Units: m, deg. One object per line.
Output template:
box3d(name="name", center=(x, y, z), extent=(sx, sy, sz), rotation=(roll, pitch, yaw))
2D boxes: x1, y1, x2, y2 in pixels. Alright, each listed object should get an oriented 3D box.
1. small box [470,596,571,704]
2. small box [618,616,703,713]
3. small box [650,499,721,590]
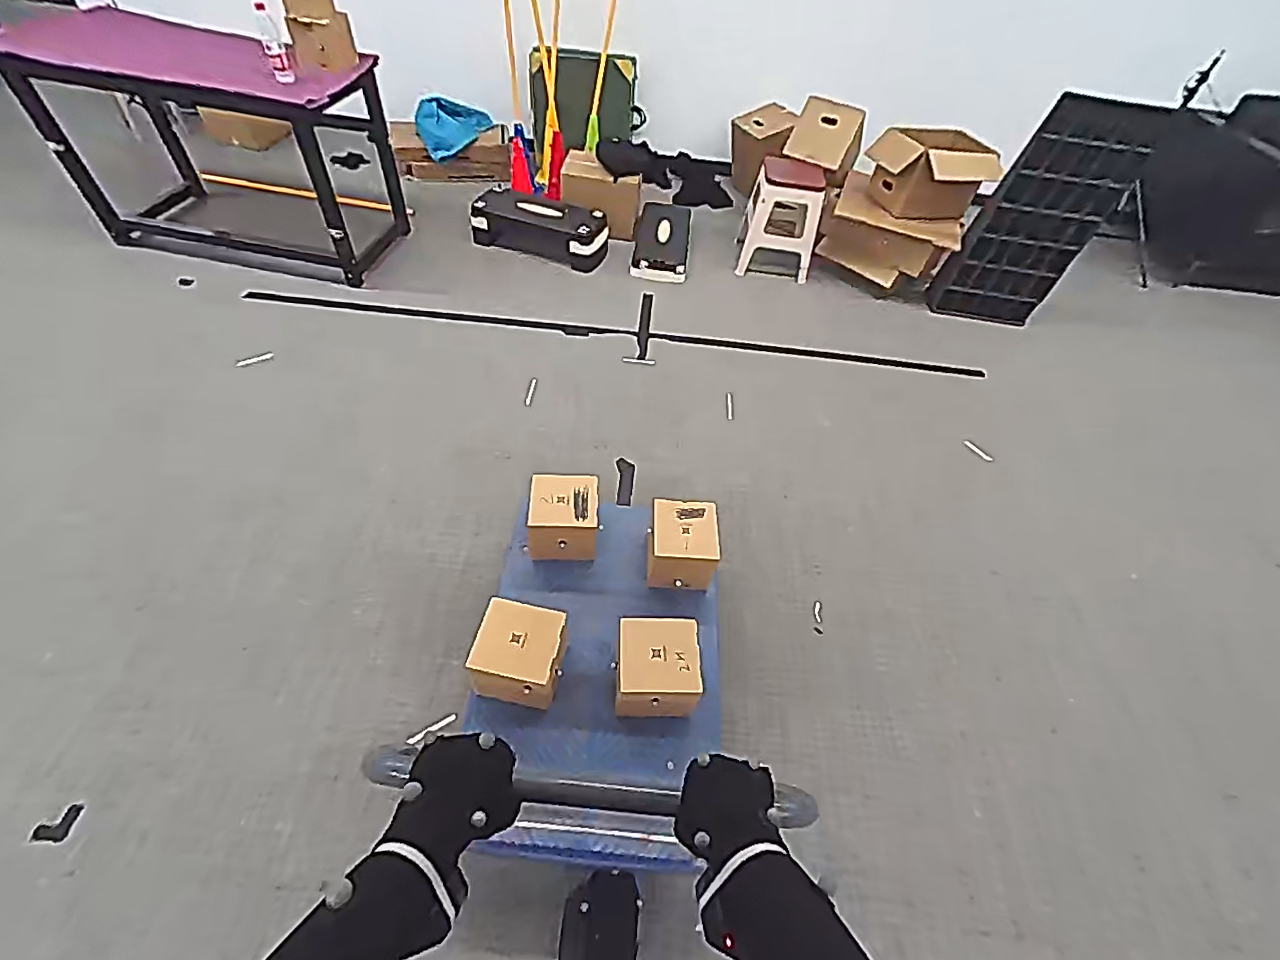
box3d(name="small box", center=(-0.264, 0.390, 1.228), extent=(0.179, 0.176, 0.168), rotation=(13, 50, 1))
box3d(name="small box", center=(0.040, 0.426, 1.237), extent=(0.179, 0.176, 0.168), rotation=(3, 51, -5))
box3d(name="small box", center=(0.116, 0.174, 1.450), extent=(0.168, 0.176, 0.179), rotation=(4, 52, -3))
